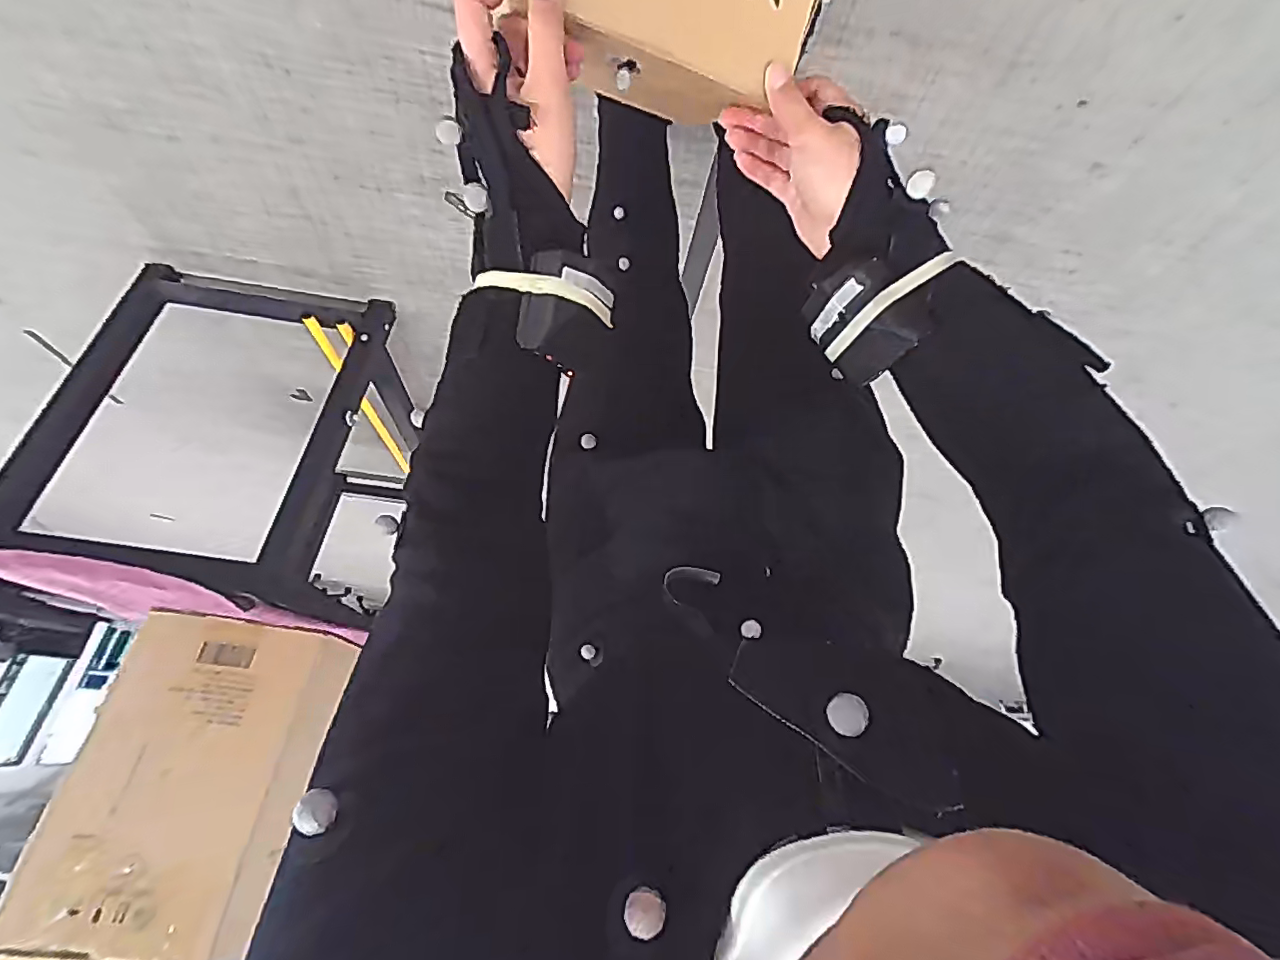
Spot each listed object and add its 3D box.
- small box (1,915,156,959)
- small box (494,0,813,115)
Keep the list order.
[{"bbox_3d":[-1.119,0.979,1.053,0.168,0.176,0.179,7,156,0],"label":"small box"},{"bbox_3d":[0.008,-0.358,0.349,0.179,0.176,0.168,5,117,-23],"label":"small box"}]
